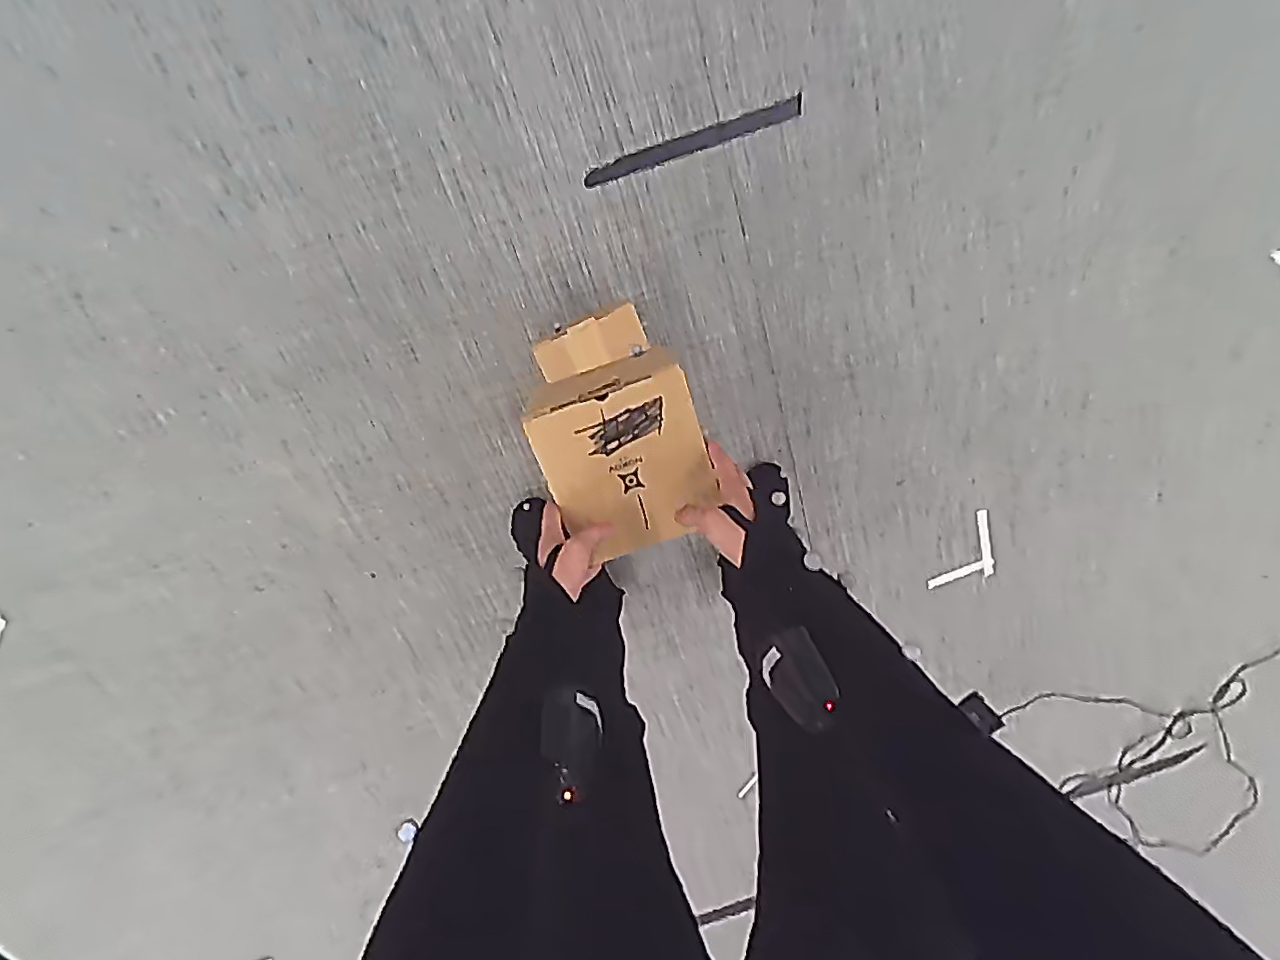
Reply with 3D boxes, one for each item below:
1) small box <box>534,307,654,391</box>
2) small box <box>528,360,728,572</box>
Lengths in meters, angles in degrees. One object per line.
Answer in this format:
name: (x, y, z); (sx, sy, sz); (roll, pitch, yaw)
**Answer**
small box: (-0.062, -0.173, 0.898); (0.168, 0.176, 0.179); (-24, 111, 2)
small box: (-0.015, -0.029, 0.619); (0.168, 0.176, 0.179); (-18, 112, 2)
